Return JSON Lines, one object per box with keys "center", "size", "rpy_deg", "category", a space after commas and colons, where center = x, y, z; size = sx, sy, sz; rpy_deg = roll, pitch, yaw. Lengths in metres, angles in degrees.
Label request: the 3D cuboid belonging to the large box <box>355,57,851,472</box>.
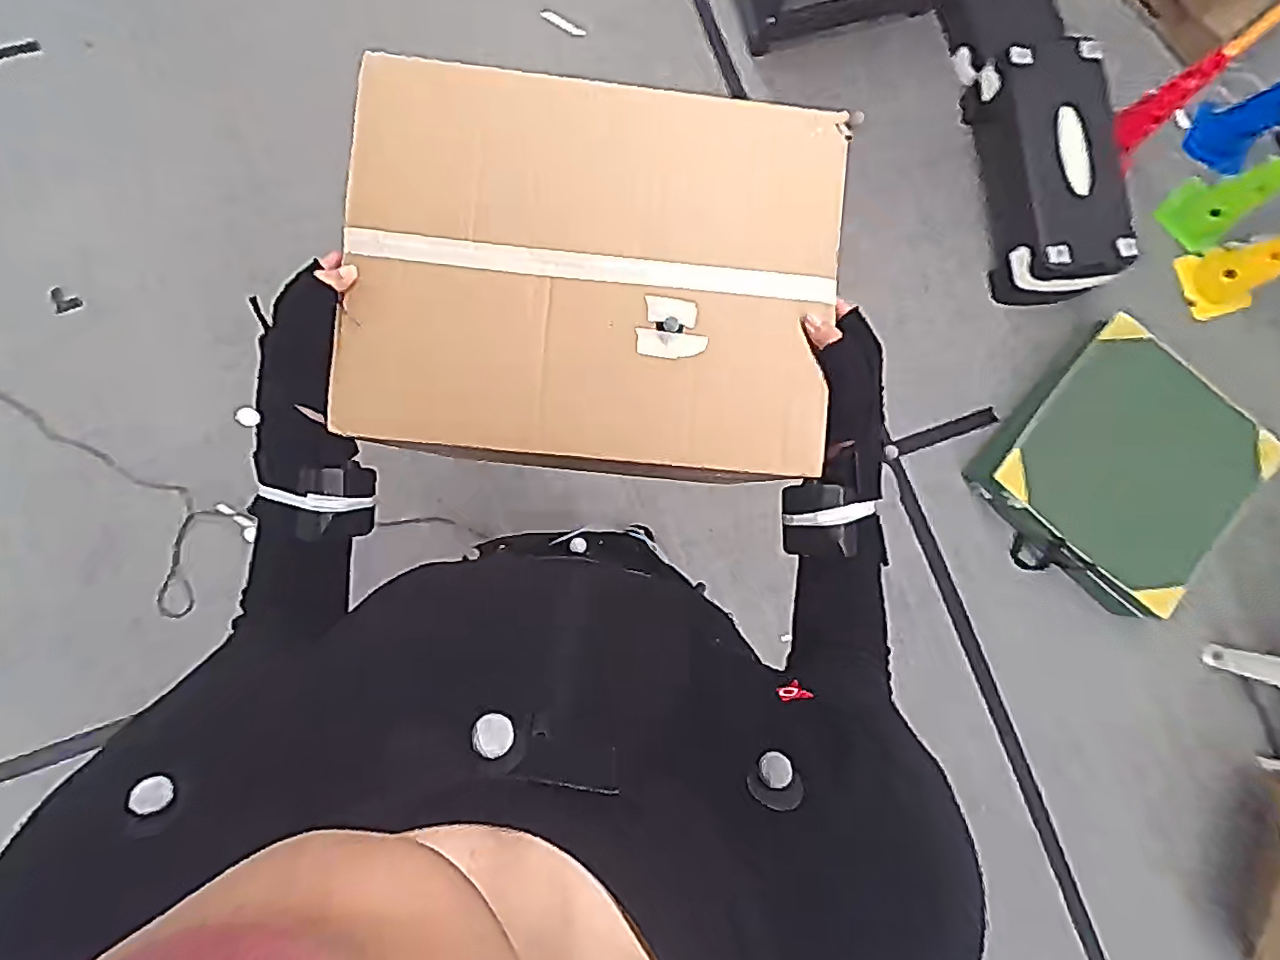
{"center": [-0.036, -0.182, 0.606], "size": [0.408, 0.320, 0.320], "rpy_deg": [6, 90, -4], "category": "large box"}
